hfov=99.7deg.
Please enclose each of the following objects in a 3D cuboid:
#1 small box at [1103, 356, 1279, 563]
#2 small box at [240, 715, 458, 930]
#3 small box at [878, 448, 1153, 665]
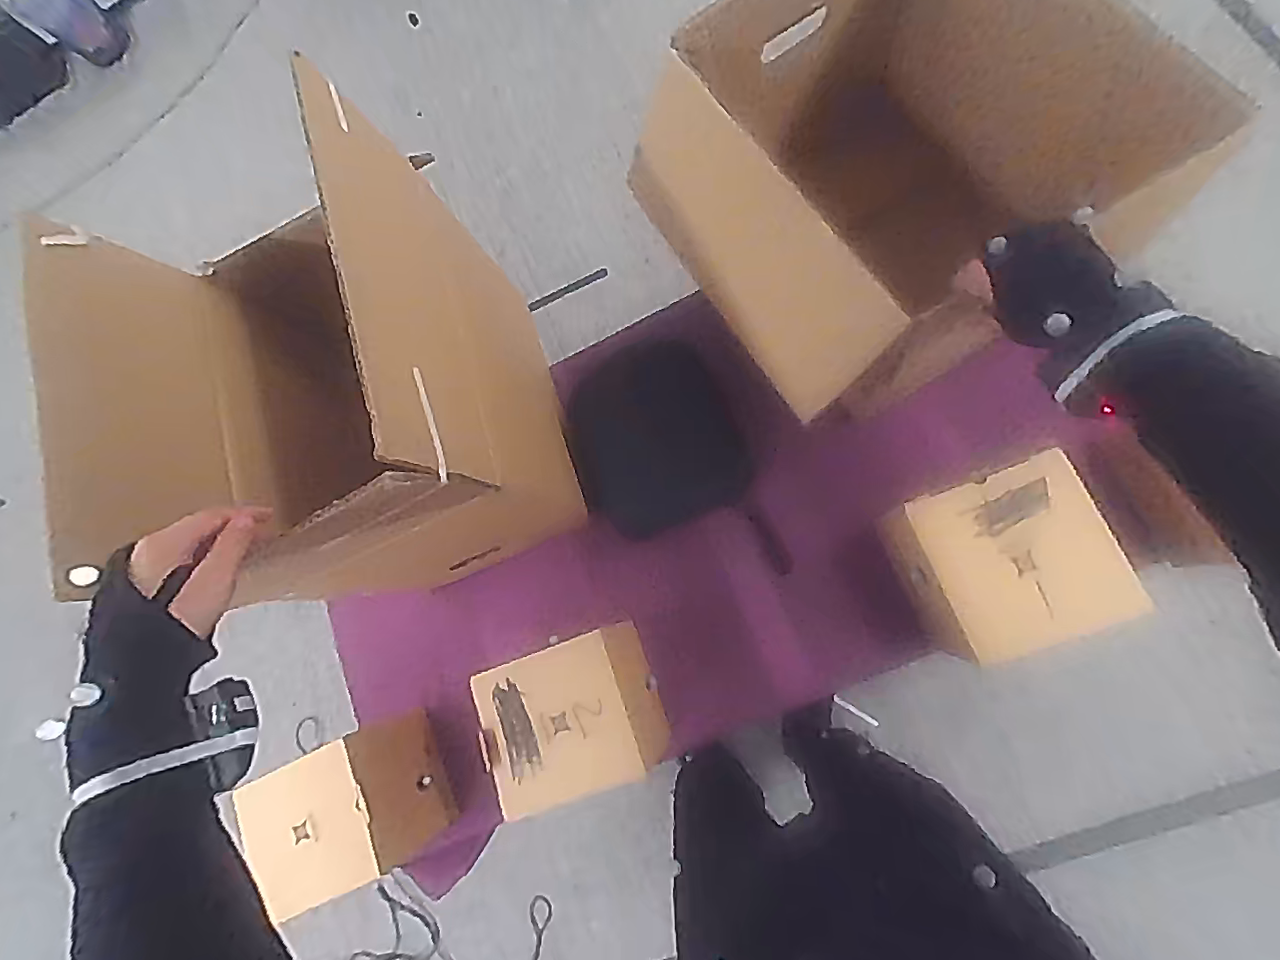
[{"bbox_3d":[0.653,-0.022,0.569,0.168,0.176,0.179,-22,75,9],"label":"small box"},{"bbox_3d":[-0.384,0.445,0.733,0.179,0.176,0.168,-28,74,6],"label":"small box"},{"bbox_3d":[0.395,0.089,0.612,0.168,0.176,0.179,-23,76,9],"label":"small box"}]
